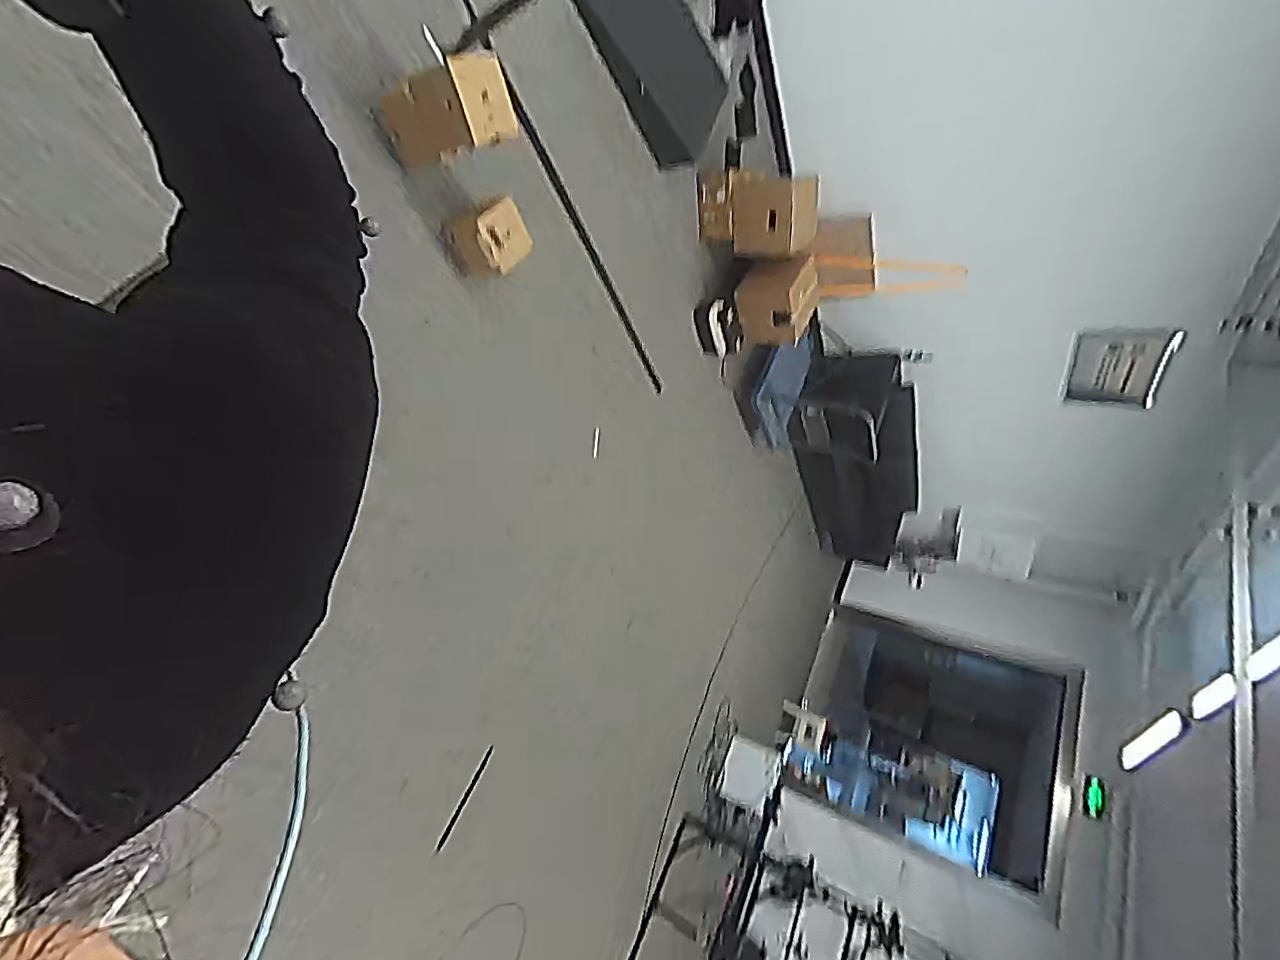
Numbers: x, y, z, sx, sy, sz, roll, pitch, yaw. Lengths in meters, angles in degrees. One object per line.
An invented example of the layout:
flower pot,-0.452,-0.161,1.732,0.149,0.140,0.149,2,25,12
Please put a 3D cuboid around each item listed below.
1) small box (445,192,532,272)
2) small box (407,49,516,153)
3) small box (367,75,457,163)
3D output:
small box,-0.482,-0.773,1.698,0.179,0.176,0.168,-58,142,-30
small box,-0.455,-0.962,1.378,0.168,0.176,0.179,-47,135,-37
small box,-0.591,-0.987,1.469,0.168,0.176,0.179,-58,142,-29
